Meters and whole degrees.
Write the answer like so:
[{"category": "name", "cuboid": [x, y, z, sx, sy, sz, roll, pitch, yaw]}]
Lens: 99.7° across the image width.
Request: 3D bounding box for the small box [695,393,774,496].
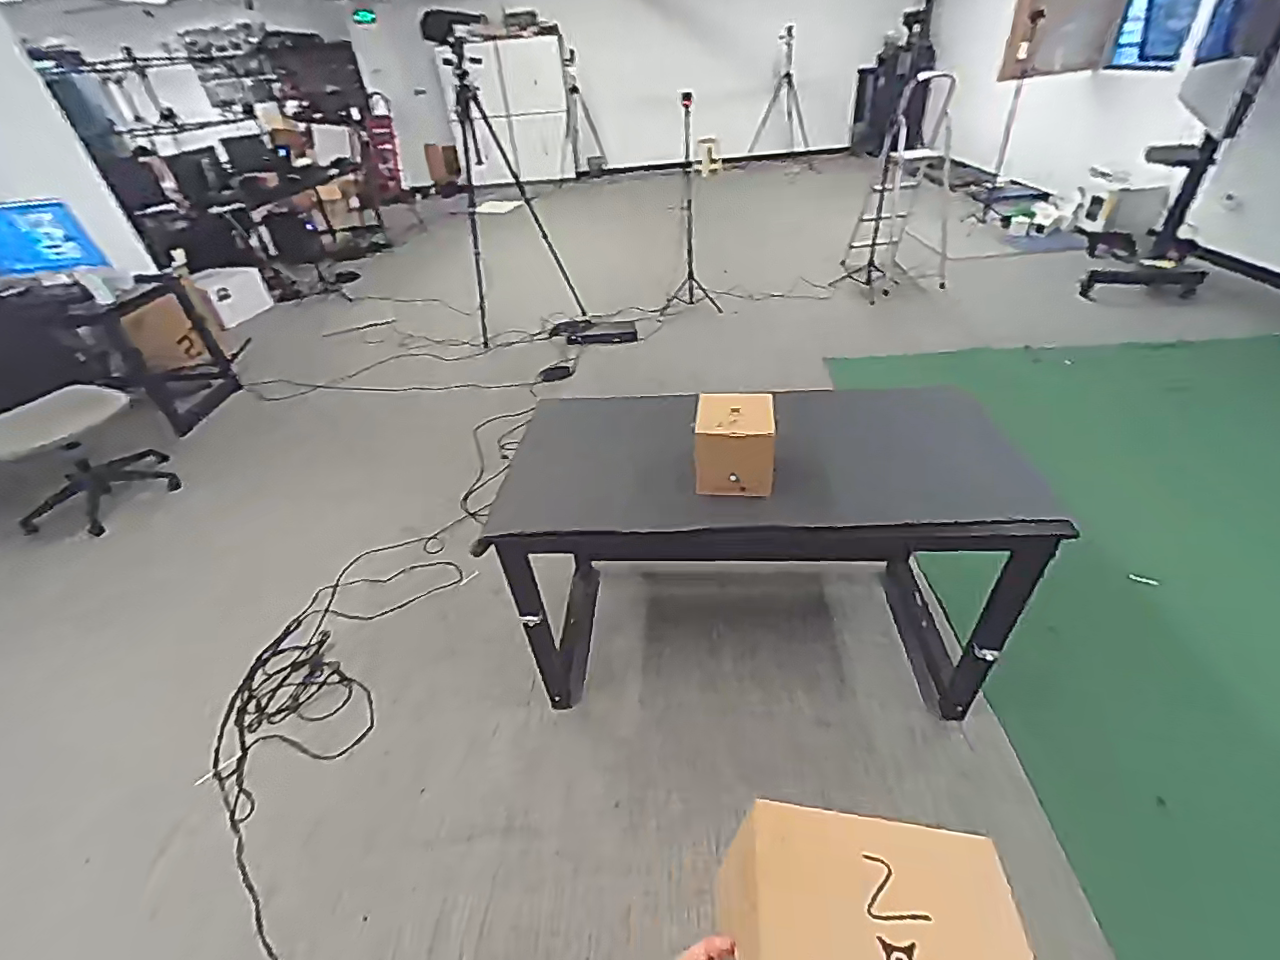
[{"category": "small box", "cuboid": [0.213, -0.084, 1.232, 0.168, 0.176, 0.179, 1, 38, 10]}]
